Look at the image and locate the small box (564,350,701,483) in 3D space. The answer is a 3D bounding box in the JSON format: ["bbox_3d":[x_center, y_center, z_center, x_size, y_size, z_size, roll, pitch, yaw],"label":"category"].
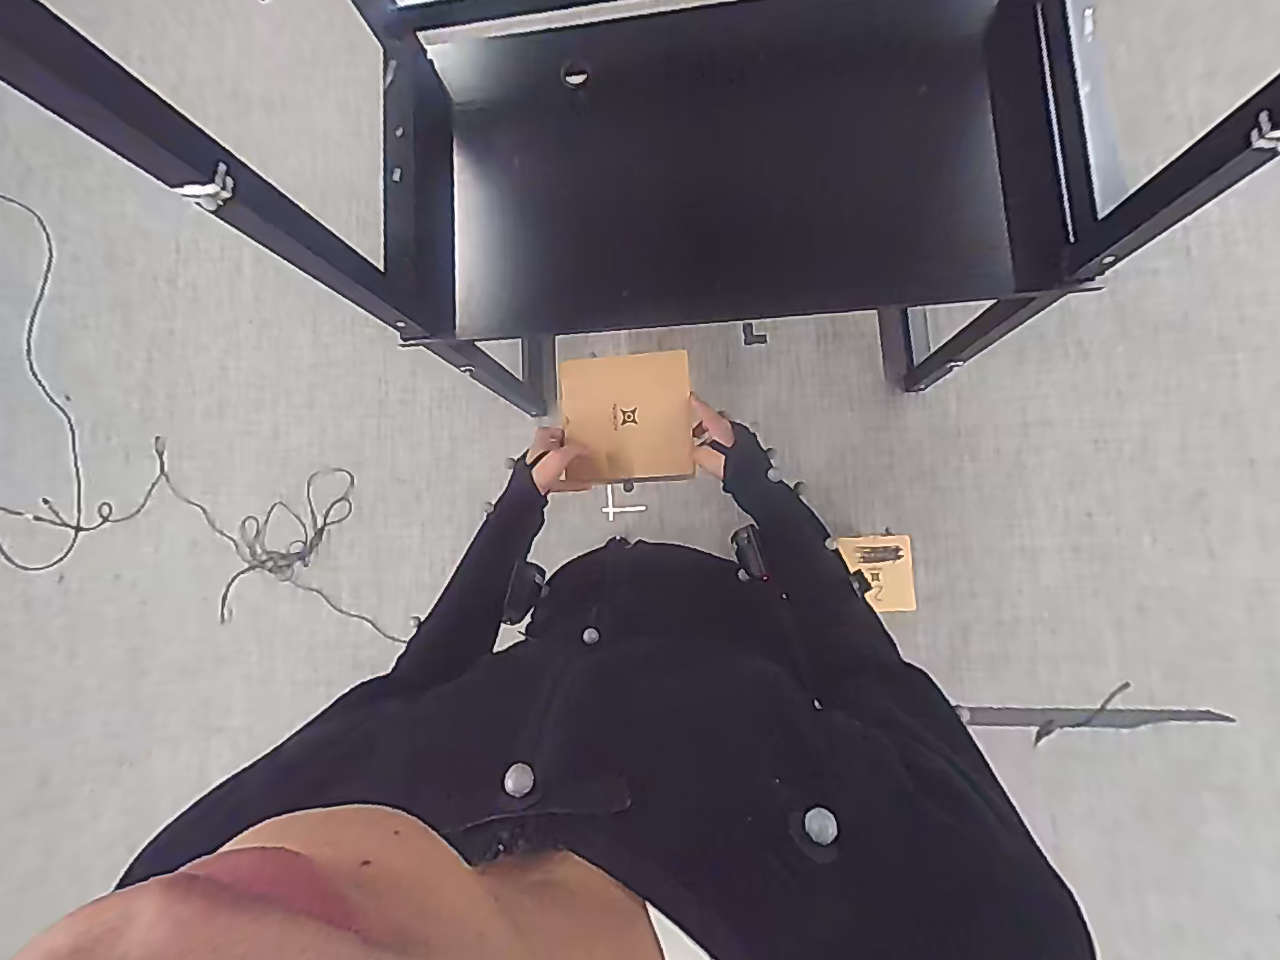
[{"bbox_3d":[-0.002,-0.082,0.787,0.179,0.176,0.168,-4,88,9],"label":"small box"}]

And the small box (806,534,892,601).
[{"bbox_3d":[0.566,0.235,1.482,0.179,0.176,0.168,-5,84,8],"label":"small box"}]
